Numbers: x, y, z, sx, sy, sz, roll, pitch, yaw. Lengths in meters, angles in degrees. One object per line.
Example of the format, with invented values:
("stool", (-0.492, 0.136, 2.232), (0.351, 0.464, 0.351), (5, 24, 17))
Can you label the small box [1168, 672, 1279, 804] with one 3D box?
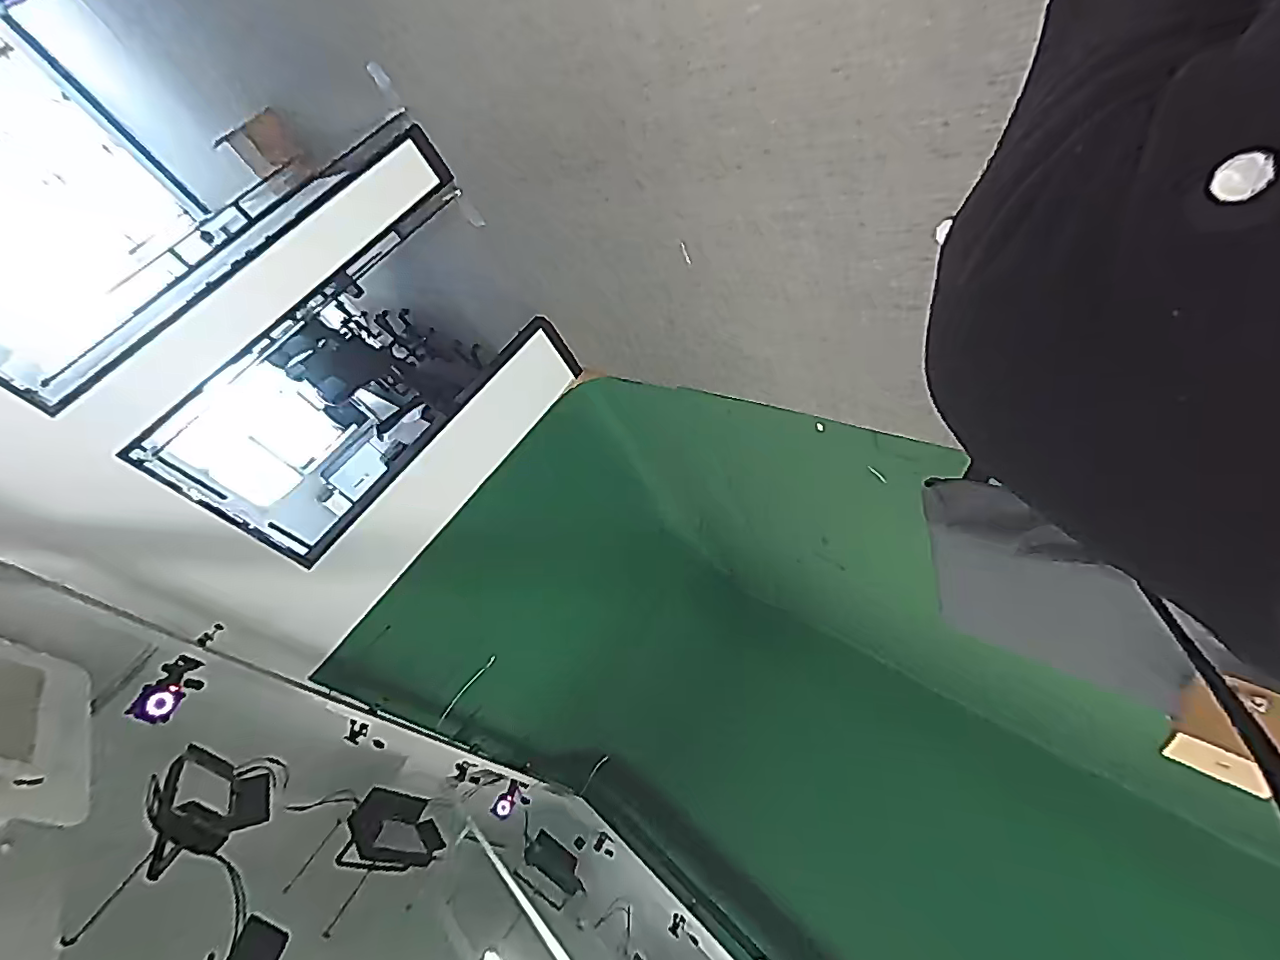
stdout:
("small box", (1.279, 0.547, 1.156), (0.168, 0.176, 0.179), (18, 153, 43))
